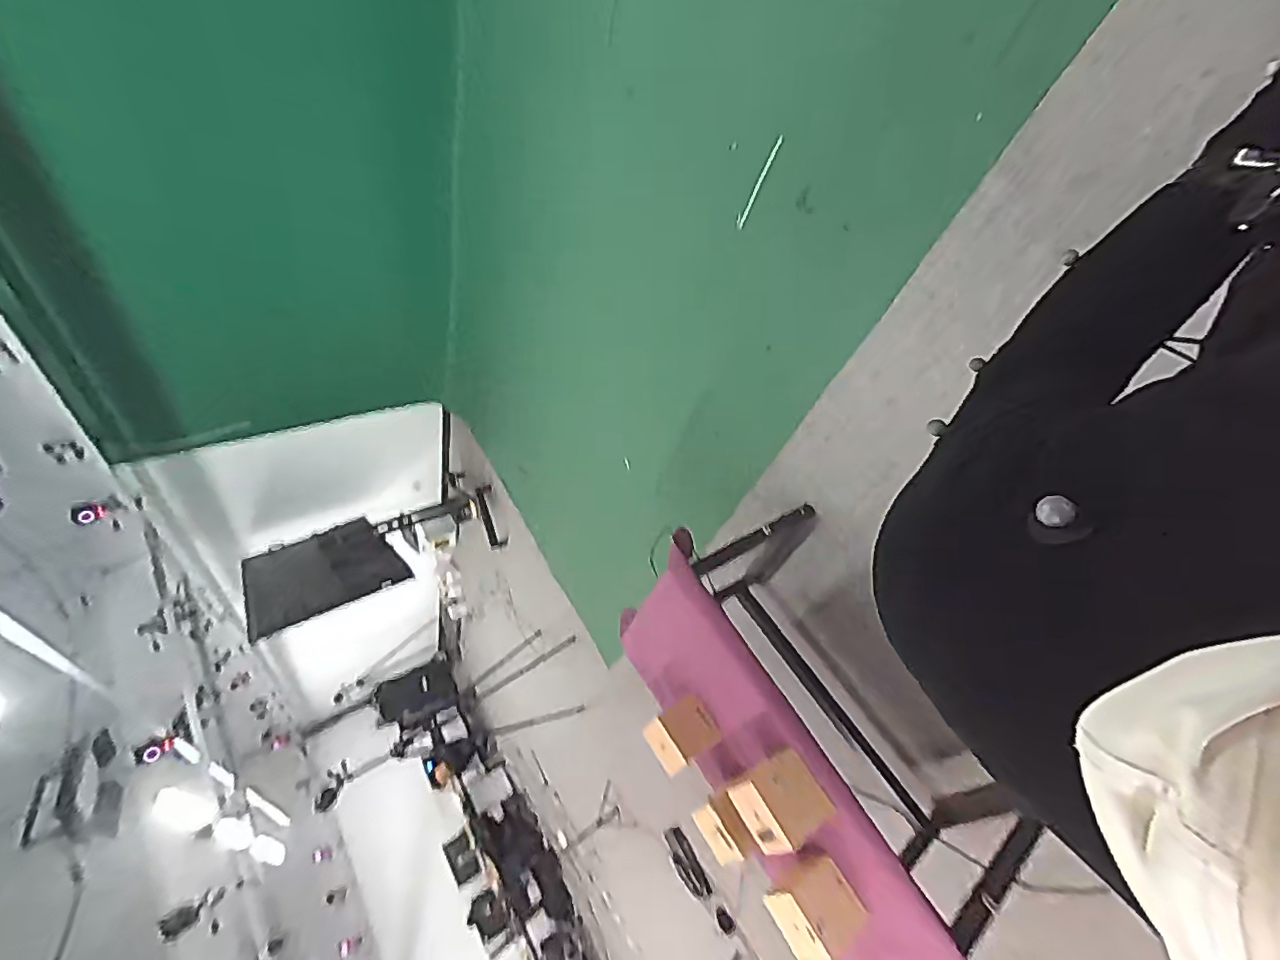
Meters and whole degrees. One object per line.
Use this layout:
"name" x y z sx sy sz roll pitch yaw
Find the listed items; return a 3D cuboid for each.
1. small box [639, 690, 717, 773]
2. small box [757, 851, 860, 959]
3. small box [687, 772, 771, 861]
"small box" 0.128 0.836 1.804 0.168 0.176 0.179 52 142 24
"small box" 0.463 1.160 1.485 0.168 0.176 0.179 53 143 22
"small box" 0.282 1.046 1.689 0.168 0.176 0.179 53 144 24
